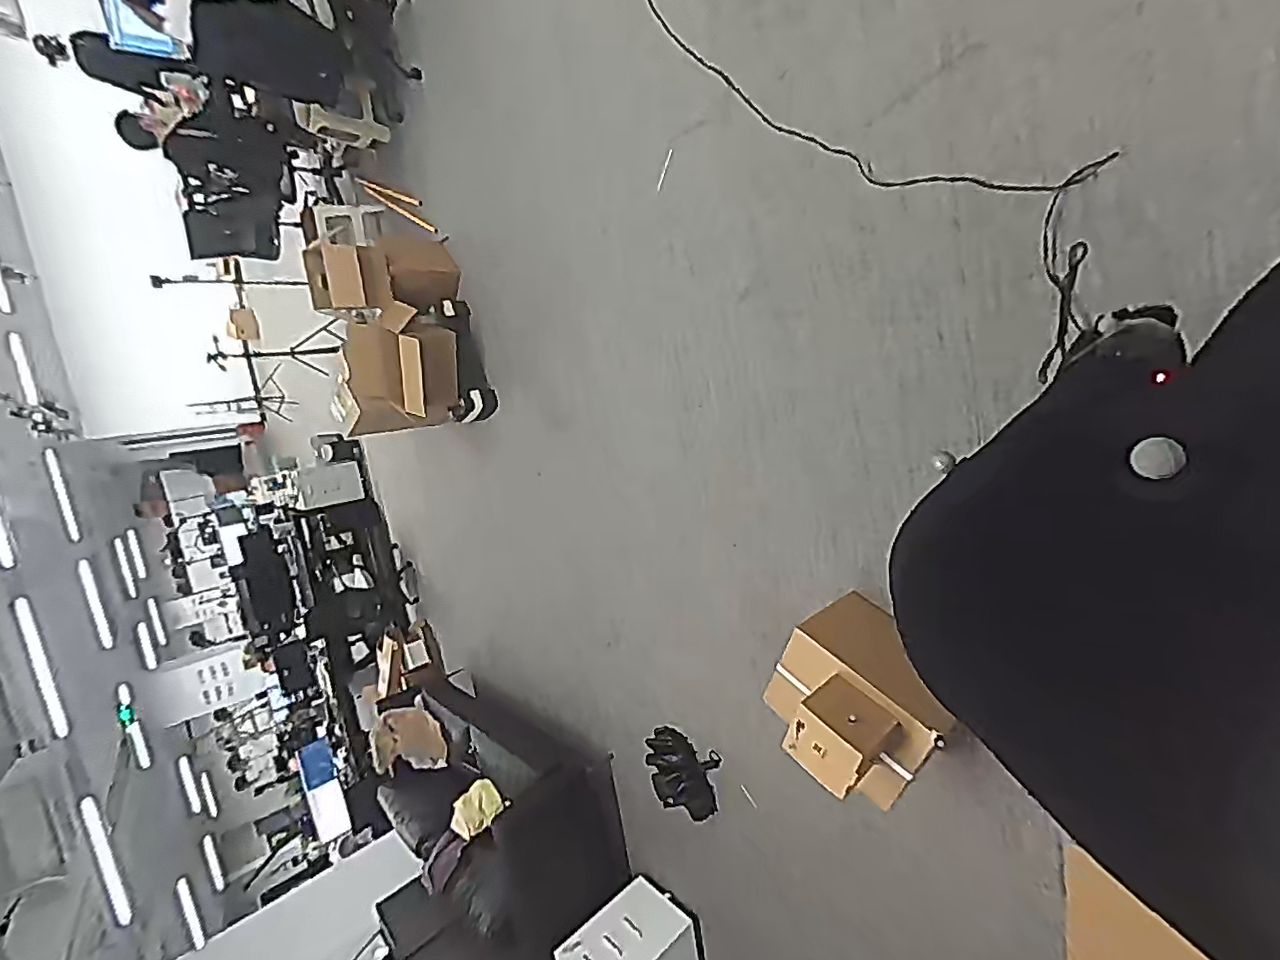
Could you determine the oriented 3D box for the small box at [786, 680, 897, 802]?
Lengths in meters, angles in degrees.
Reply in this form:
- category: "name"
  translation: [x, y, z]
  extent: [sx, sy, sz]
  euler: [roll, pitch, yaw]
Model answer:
- category: "small box"
  translation: [0.492, 0.625, 1.321]
  extent: [0.179, 0.176, 0.168]
  euler: [32, 126, 42]
